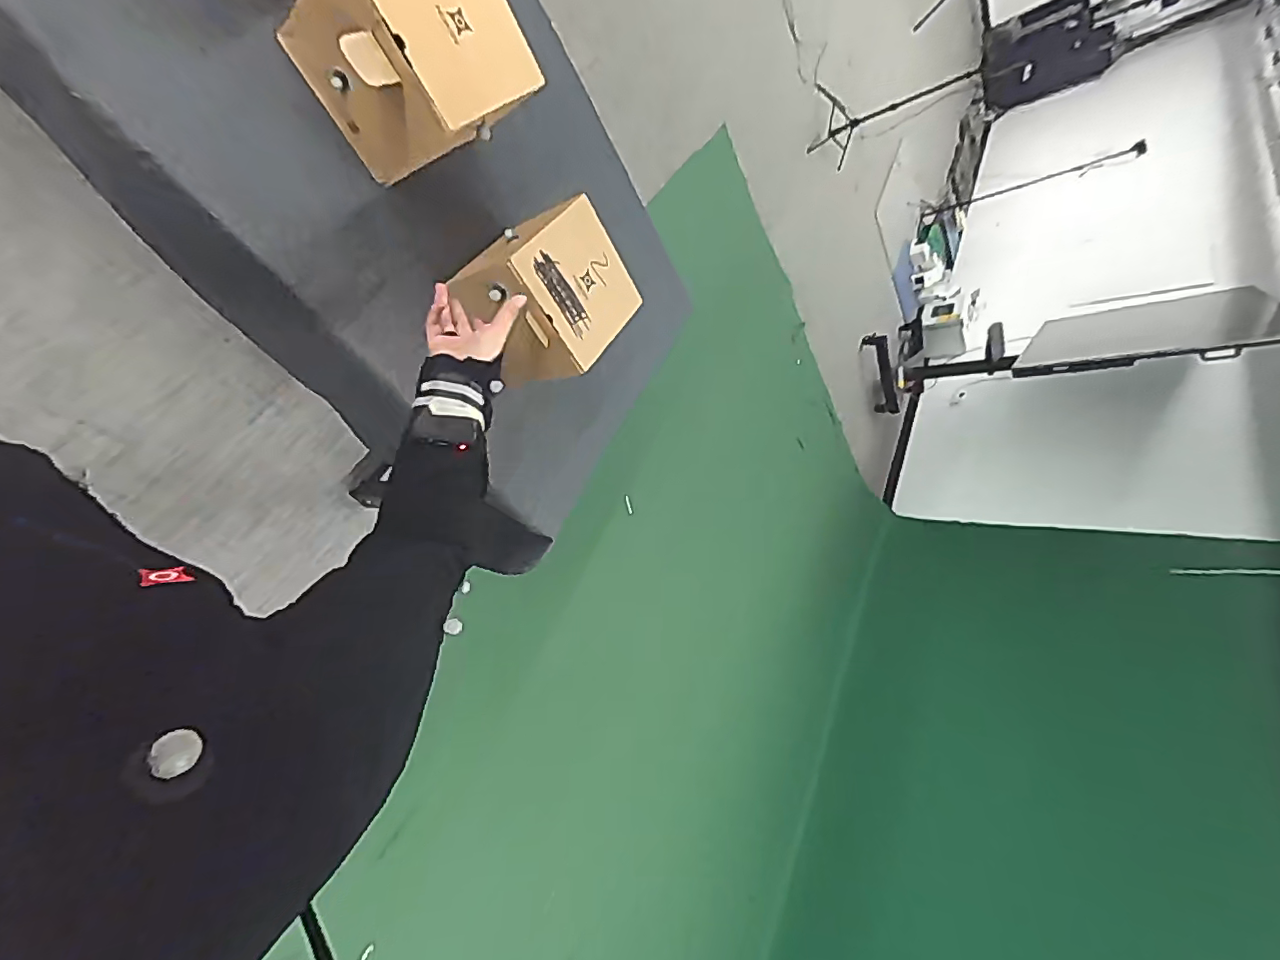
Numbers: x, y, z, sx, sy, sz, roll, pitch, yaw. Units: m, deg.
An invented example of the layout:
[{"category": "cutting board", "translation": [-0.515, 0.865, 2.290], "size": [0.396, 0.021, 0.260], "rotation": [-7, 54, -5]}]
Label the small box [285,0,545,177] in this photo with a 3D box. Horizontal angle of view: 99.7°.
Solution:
[{"category": "small box", "translation": [-0.248, -0.477, 0.607], "size": [0.179, 0.176, 0.168], "rotation": [-55, 130, -32]}]
